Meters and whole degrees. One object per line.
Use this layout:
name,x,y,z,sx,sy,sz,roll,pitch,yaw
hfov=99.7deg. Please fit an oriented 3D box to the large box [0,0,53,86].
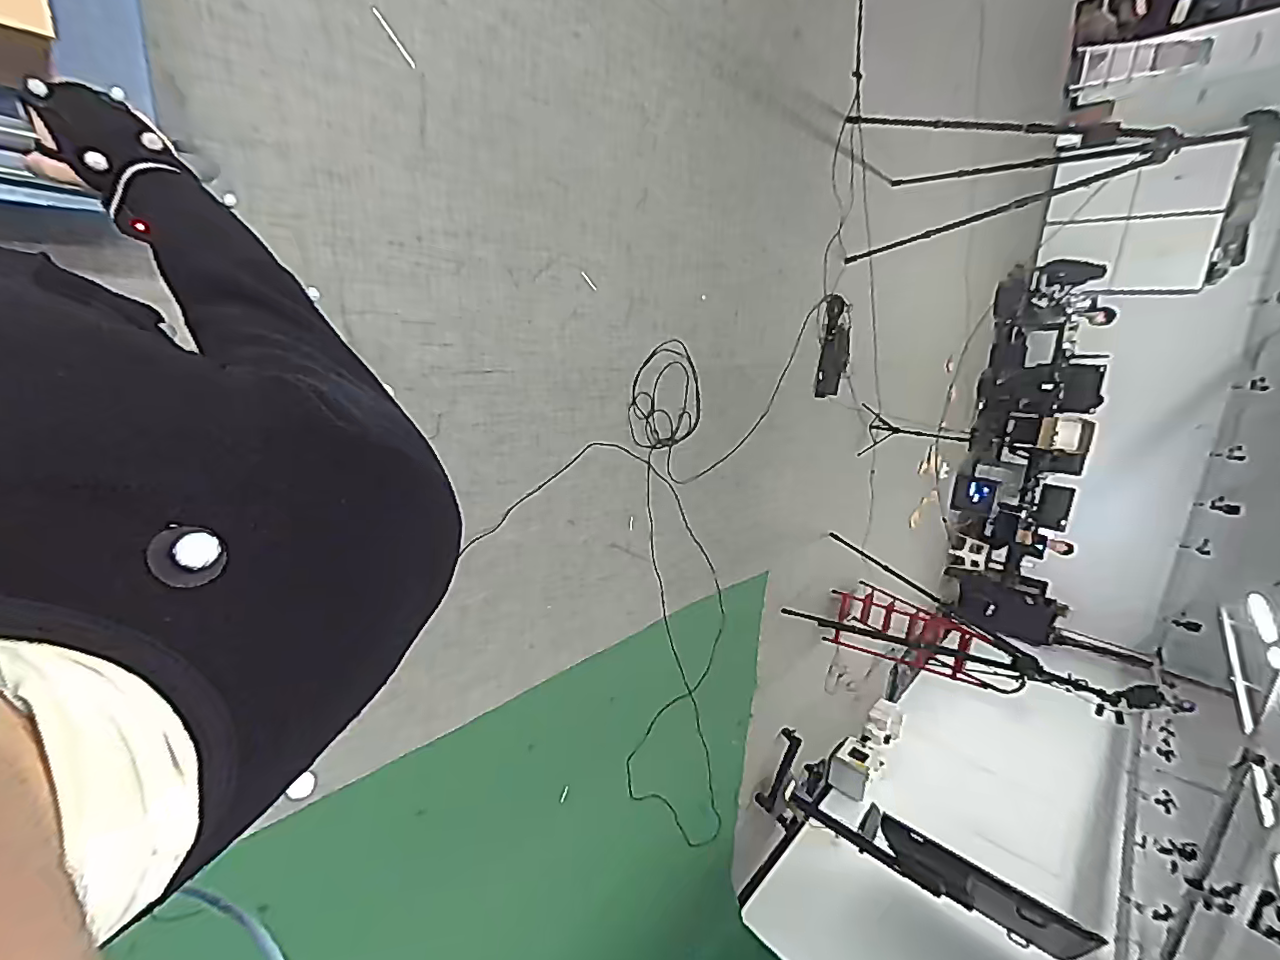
large box,-1.012,-0.798,0.672,0.320,0.320,0.408,-16,114,-44
